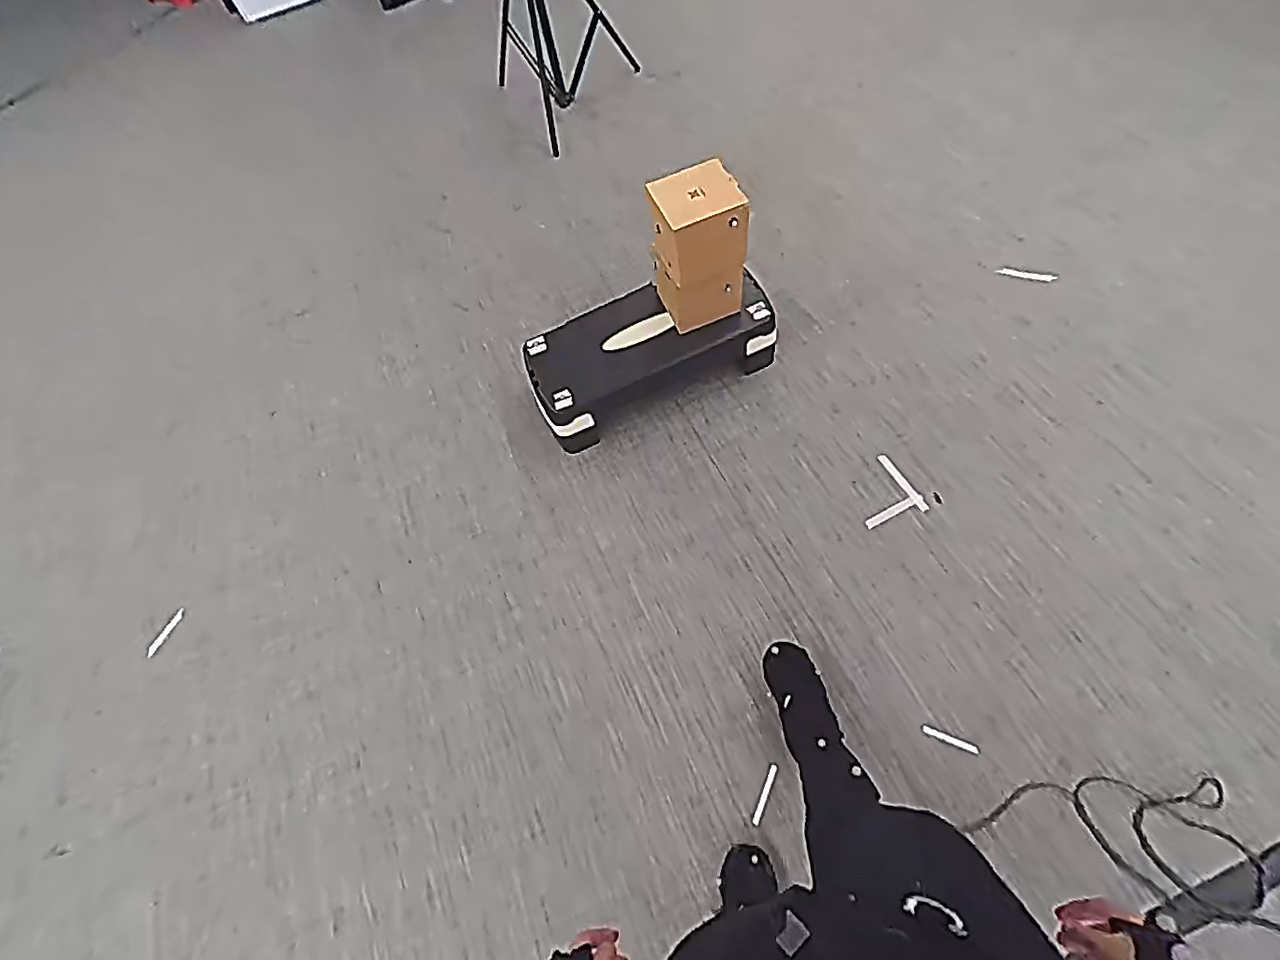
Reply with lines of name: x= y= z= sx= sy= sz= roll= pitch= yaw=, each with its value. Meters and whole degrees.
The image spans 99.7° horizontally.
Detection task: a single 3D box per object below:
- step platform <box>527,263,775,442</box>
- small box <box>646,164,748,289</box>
step platform: x=0.030 y=-0.379 z=1.530 sx=0.684 sy=0.204 sz=0.286 roll=-25 pitch=63 yaw=-3
small box: x=0.131 y=-0.569 z=1.230 sx=0.179 sy=0.176 sz=0.168 roll=-22 pitch=64 yaw=-3
